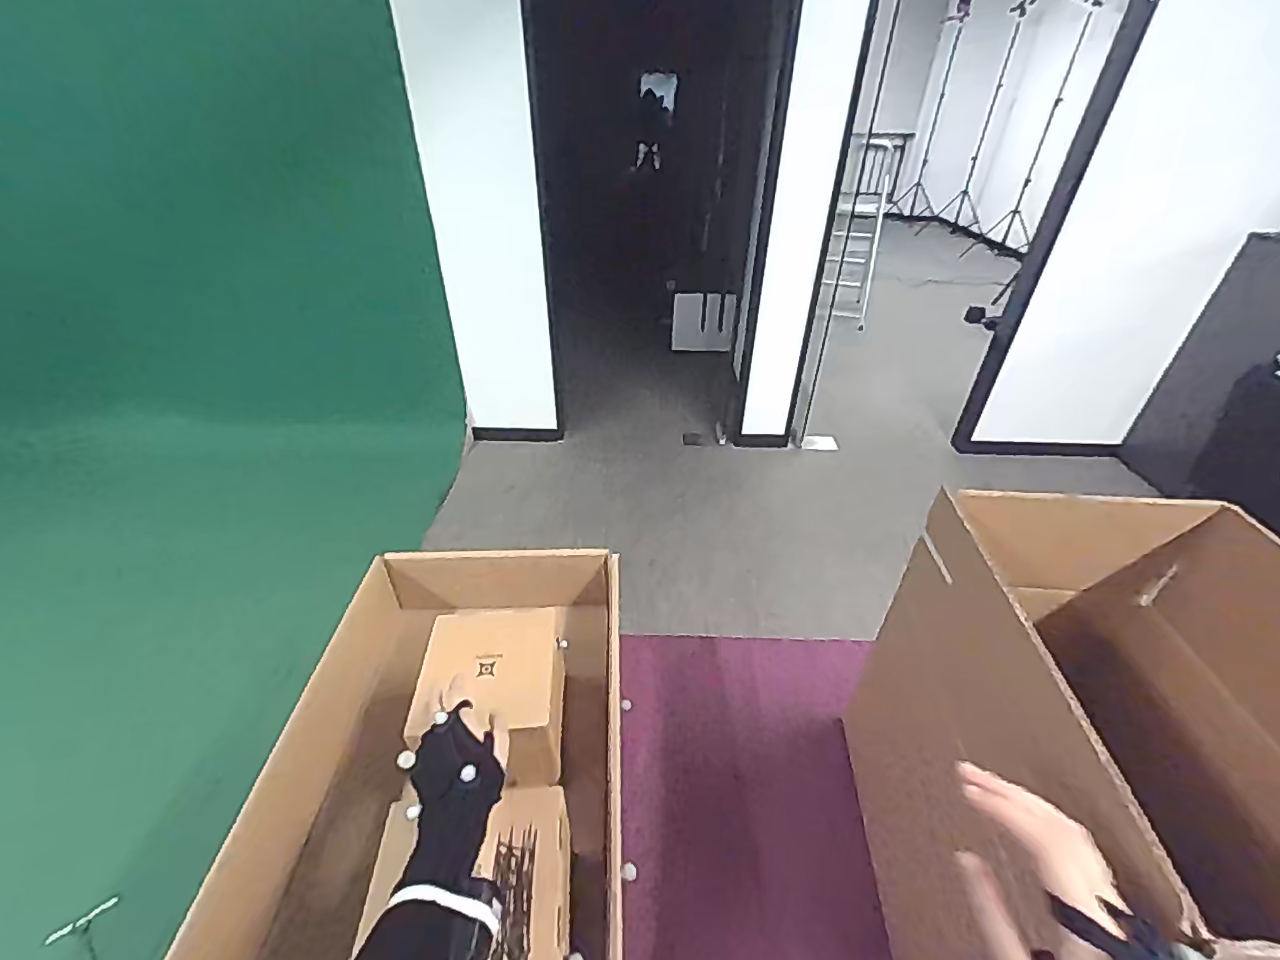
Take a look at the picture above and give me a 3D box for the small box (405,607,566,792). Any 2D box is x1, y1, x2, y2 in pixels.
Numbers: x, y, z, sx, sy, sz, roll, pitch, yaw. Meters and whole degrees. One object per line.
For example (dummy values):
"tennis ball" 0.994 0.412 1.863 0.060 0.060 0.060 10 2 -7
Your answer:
"small box" -0.192 0.300 0.734 0.168 0.176 0.179 -3 36 -3
